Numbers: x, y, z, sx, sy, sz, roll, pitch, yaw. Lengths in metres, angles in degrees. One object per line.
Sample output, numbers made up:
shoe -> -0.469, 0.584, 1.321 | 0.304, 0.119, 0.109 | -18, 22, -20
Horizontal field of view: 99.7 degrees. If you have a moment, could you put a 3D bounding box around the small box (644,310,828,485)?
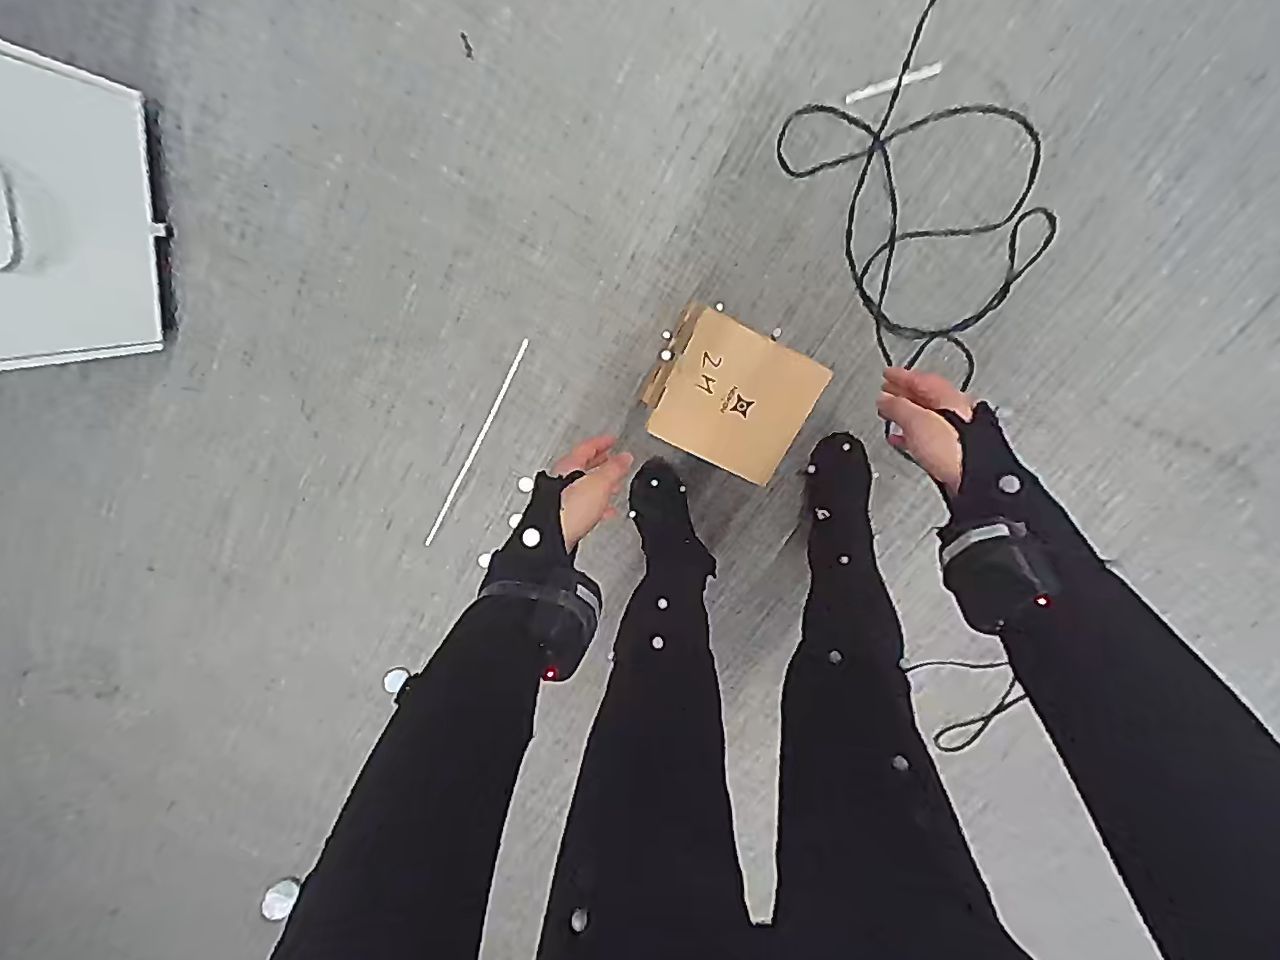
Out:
small box -> 0.120, -0.123, 0.742 | 0.179, 0.176, 0.168 | 25, 109, -6

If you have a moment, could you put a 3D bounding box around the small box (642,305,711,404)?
small box -> 0.120, -0.179, 0.897 | 0.179, 0.176, 0.168 | 27, 109, -6
